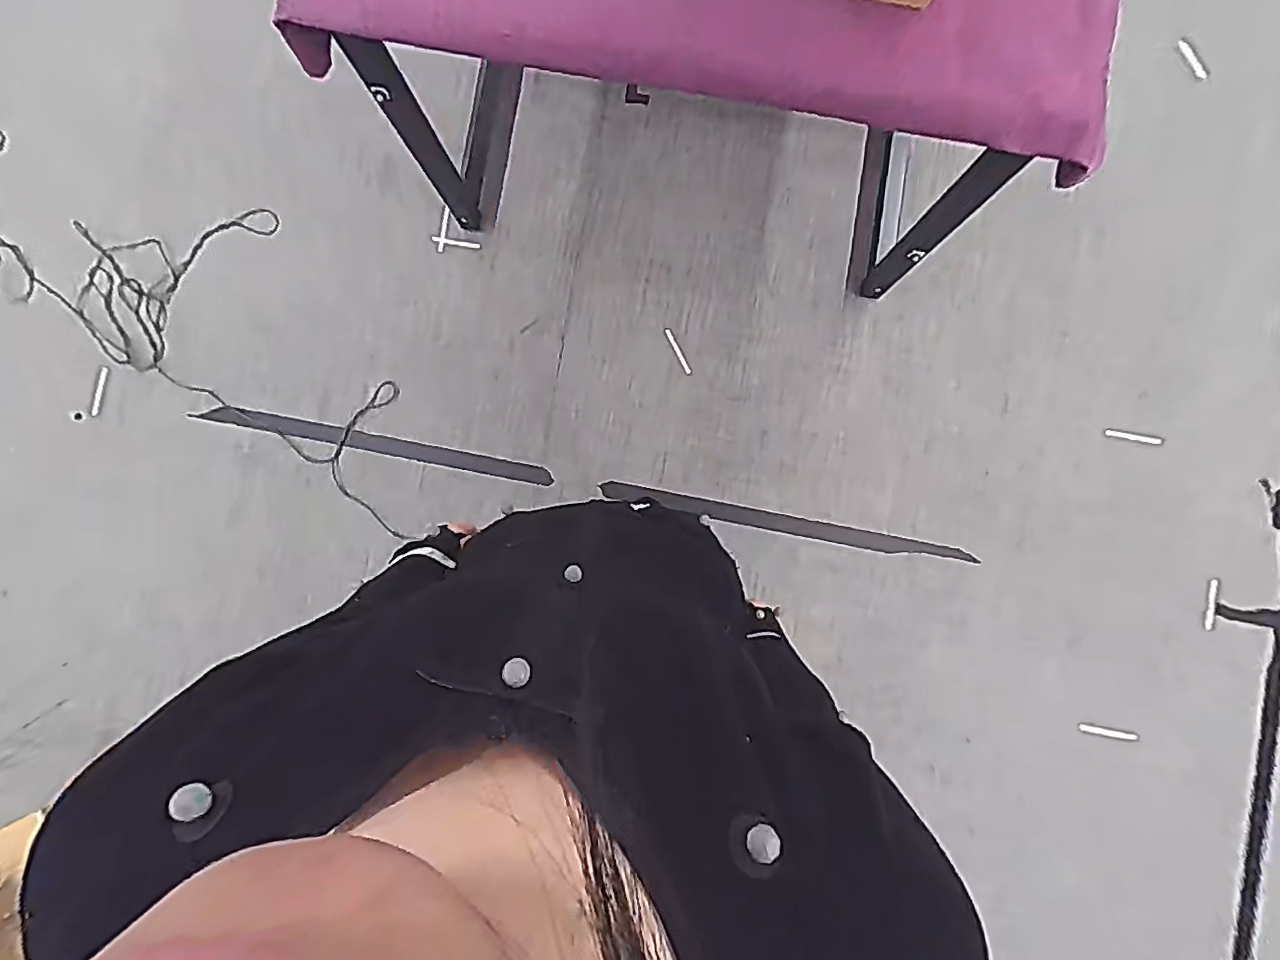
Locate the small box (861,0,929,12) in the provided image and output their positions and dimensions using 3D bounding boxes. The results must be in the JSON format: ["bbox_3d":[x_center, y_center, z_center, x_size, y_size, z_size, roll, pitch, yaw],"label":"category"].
[{"bbox_3d":[0.355,-0.787,0.714,0.168,0.176,0.179,13,88,2],"label":"small box"}]
